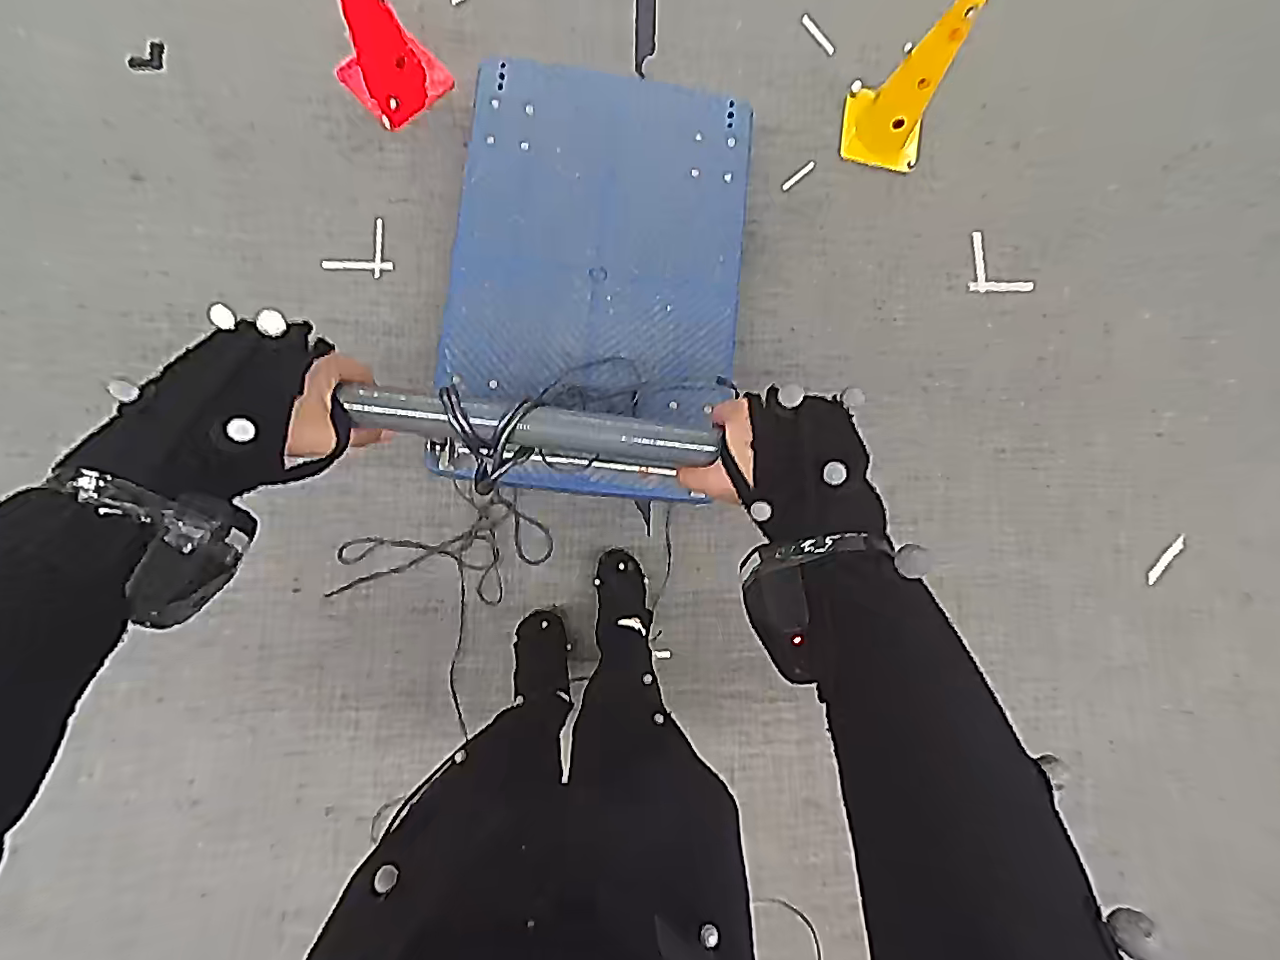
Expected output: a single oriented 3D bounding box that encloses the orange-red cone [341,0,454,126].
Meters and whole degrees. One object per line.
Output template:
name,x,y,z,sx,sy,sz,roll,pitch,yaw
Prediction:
orange-red cone,-0.542,-0.958,1.088,0.199,0.360,0.198,-44,91,-9
